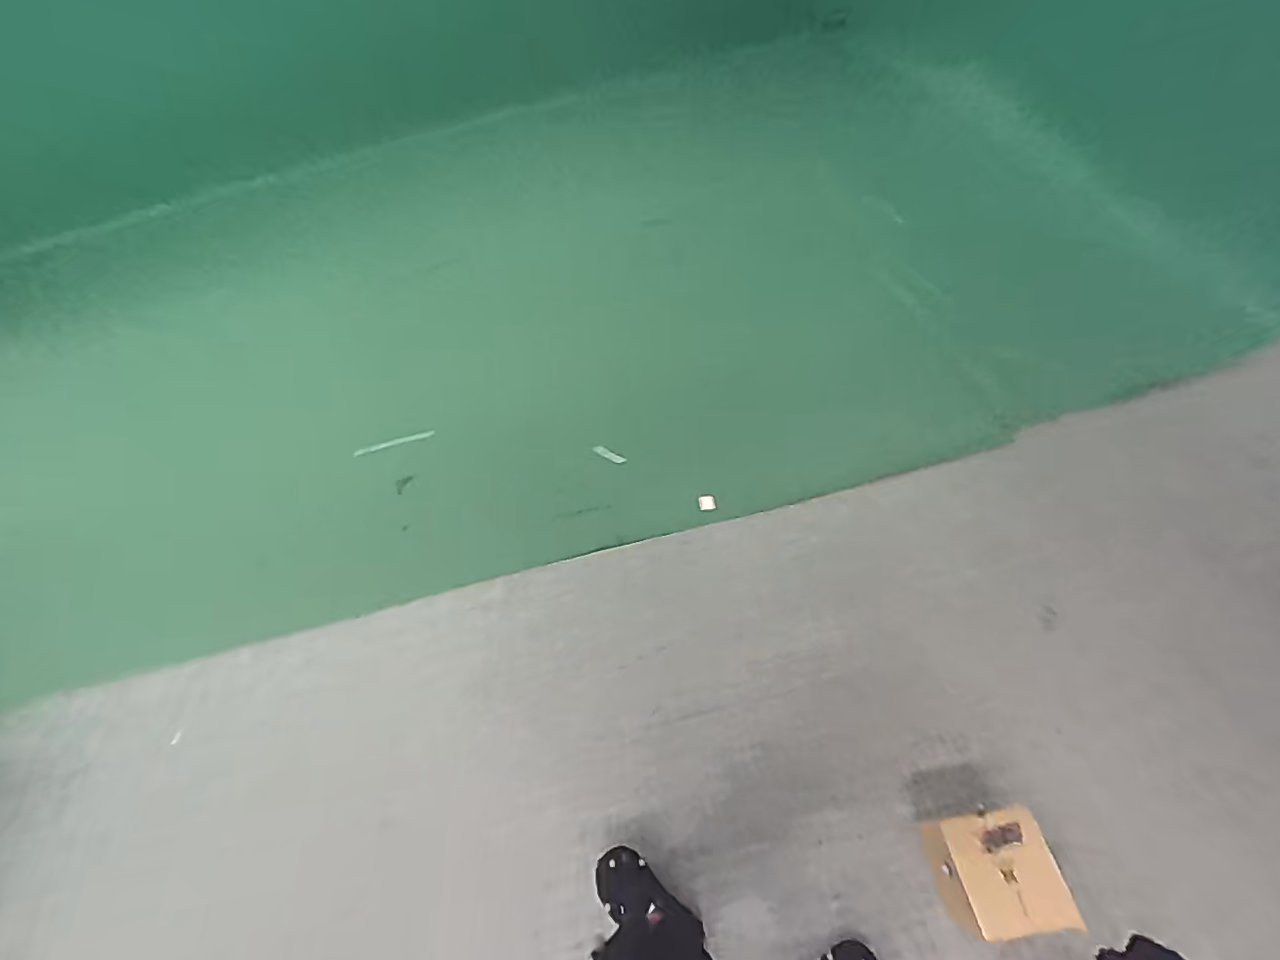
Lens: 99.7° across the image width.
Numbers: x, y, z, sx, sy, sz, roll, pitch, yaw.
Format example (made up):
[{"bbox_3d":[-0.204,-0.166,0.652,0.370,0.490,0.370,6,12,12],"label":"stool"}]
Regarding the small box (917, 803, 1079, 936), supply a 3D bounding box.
[{"bbox_3d":[0.650,0.723,1.013,0.168,0.176,0.179,-12,56,3],"label":"small box"}]
